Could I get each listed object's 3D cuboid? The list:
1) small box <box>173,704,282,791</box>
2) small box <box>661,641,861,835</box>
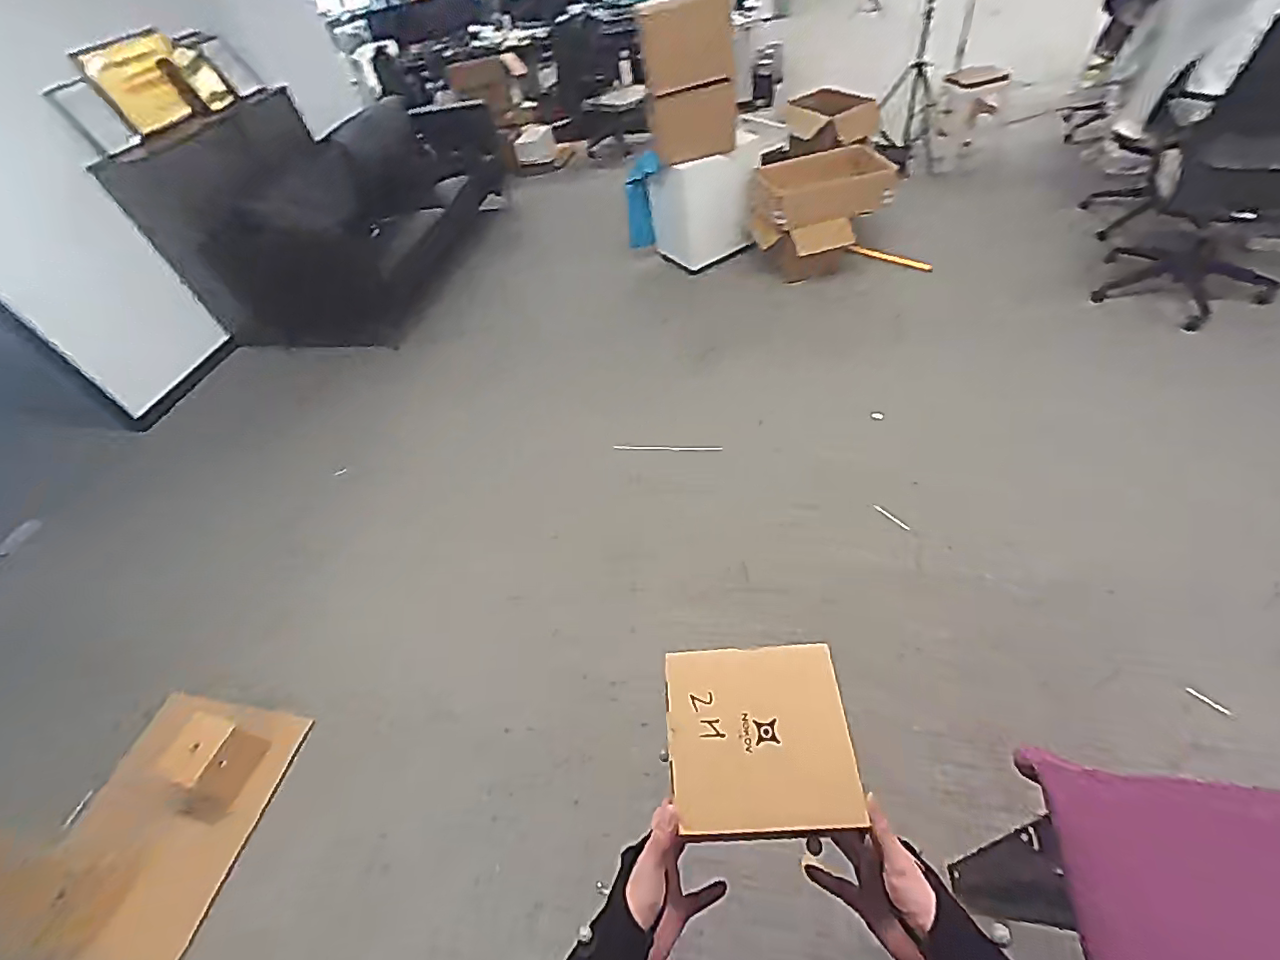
[{"bbox_3d":[-1.249,0.821,1.657,0.168,0.176,0.179,7,52,19],"label":"small box"},{"bbox_3d":[0.118,0.288,0.596,0.179,0.176,0.168,-5,54,4],"label":"small box"}]
